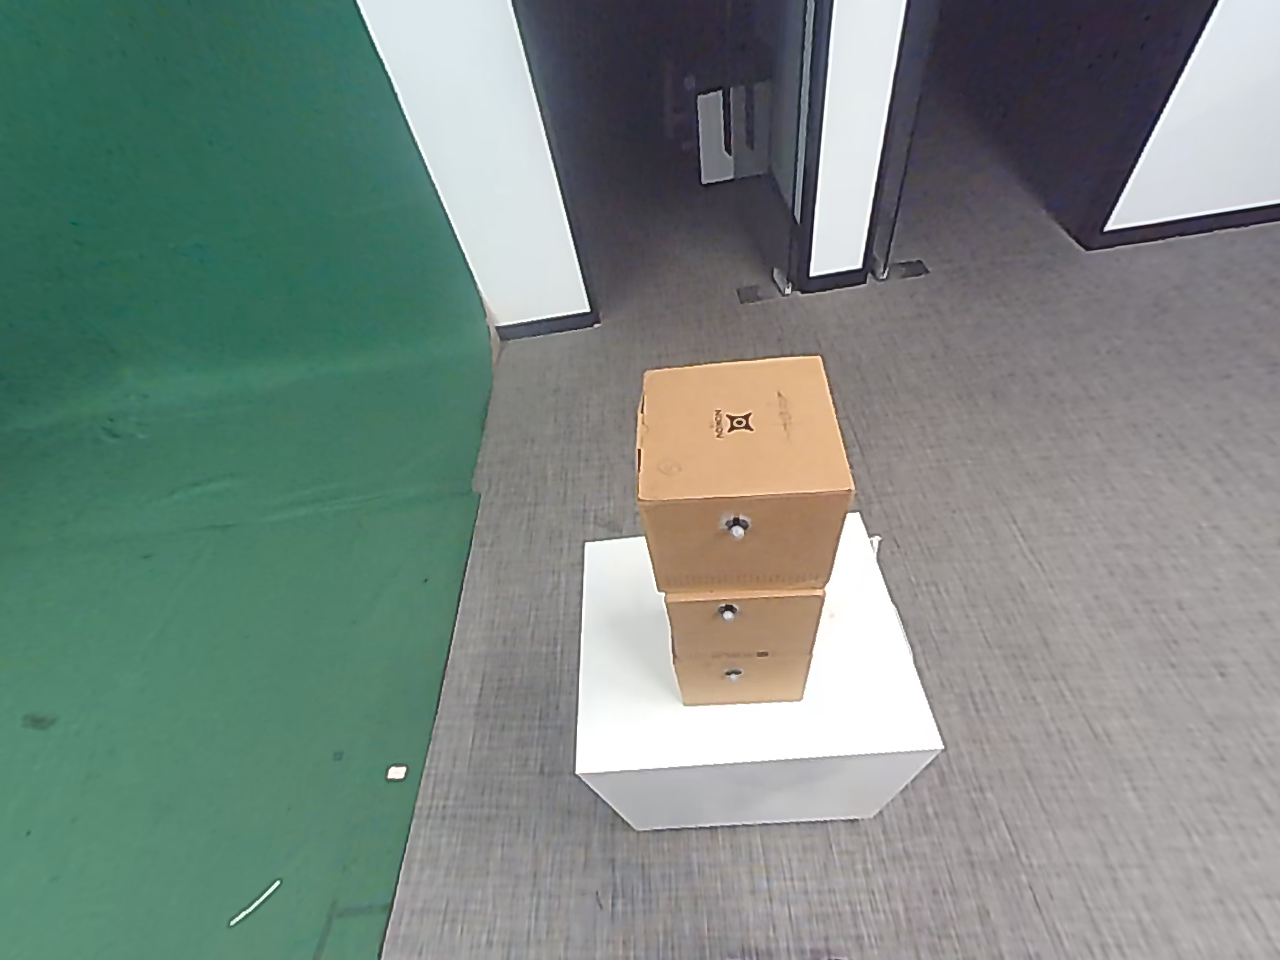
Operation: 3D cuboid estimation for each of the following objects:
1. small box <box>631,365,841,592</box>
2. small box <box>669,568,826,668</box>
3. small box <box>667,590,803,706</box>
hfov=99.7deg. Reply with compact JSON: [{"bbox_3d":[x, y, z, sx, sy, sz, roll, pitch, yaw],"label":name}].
[{"bbox_3d":[0.093,0.006,0.556,0.179,0.176,0.168,-3,51,8],"label":"small box"},{"bbox_3d":[0.120,0.115,0.677,0.168,0.176,0.179,-6,49,5],"label":"small box"},{"bbox_3d":[0.137,0.223,0.795,0.179,0.176,0.168,-5,49,6],"label":"small box"}]
